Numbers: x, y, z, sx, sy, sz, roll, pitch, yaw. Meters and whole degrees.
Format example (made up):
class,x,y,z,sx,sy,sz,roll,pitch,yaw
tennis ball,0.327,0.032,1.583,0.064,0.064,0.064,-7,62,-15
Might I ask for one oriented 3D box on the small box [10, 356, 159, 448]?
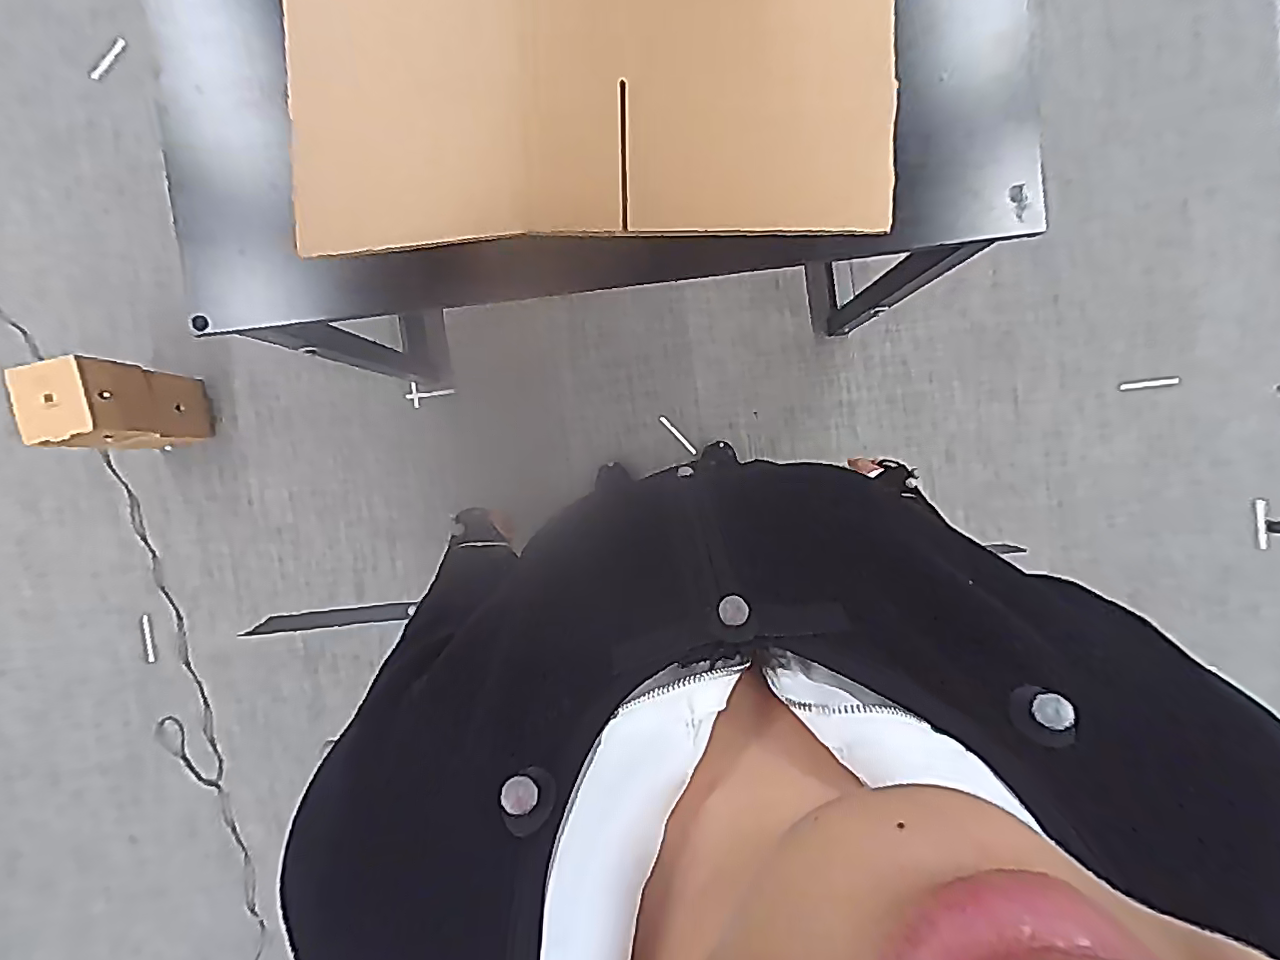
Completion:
class,x,y,z,sx,sy,sz,roll,pitch,yaw
small box,-1.299,-0.178,1.280,0.168,0.176,0.179,-13,92,1

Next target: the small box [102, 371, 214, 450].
class,x,y,z,sx,sy,sz,roll,pitch,yaw
small box,-1.294,-0.179,1.443,0.168,0.176,0.179,-11,93,2
